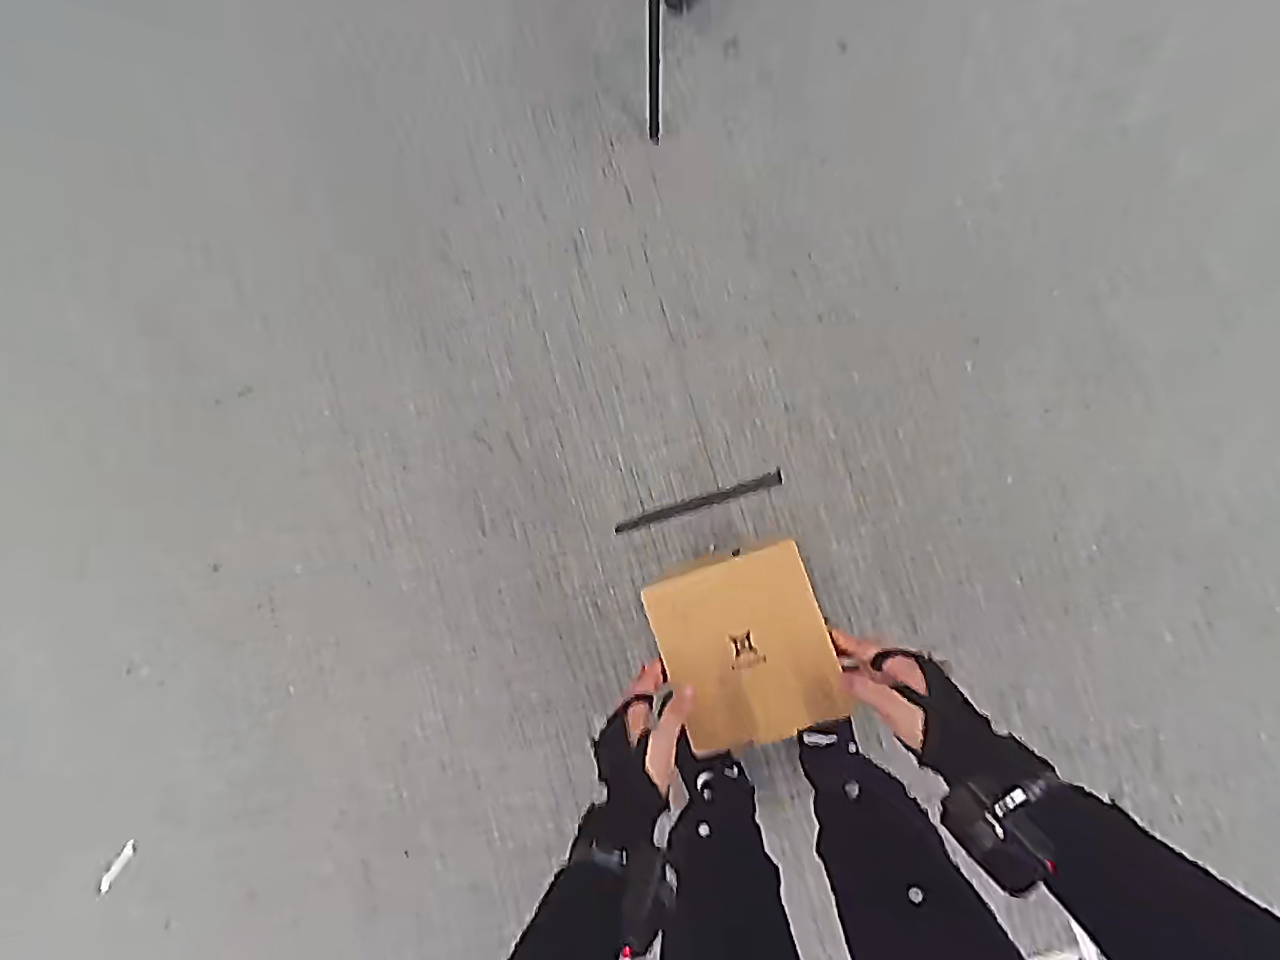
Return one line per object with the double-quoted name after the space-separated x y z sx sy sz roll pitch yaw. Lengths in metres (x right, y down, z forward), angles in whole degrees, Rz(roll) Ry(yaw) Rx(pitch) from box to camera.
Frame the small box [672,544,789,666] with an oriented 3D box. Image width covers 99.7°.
0.168 0.227 1.029 0.168 0.176 0.179 -19 82 5 "small box"
